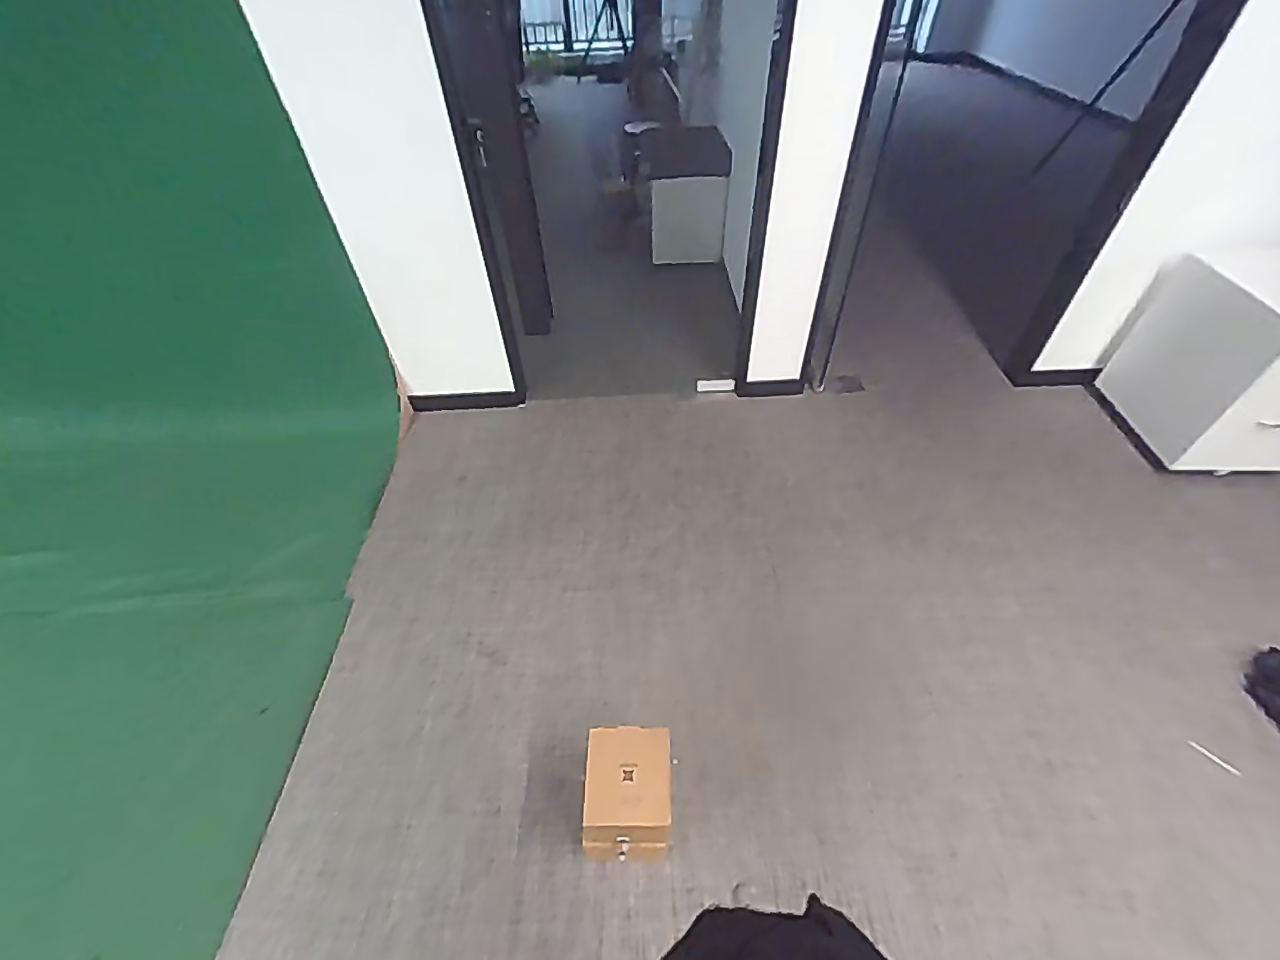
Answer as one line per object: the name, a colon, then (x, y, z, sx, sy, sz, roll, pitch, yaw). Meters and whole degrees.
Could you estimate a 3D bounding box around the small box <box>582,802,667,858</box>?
small box: (-0.027, 0.737, 1.218, 0.179, 0.176, 0.168, -1, 46, 3)

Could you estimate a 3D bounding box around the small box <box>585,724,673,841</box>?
small box: (-0.018, 0.619, 1.108, 0.168, 0.176, 0.179, -2, 47, 2)
